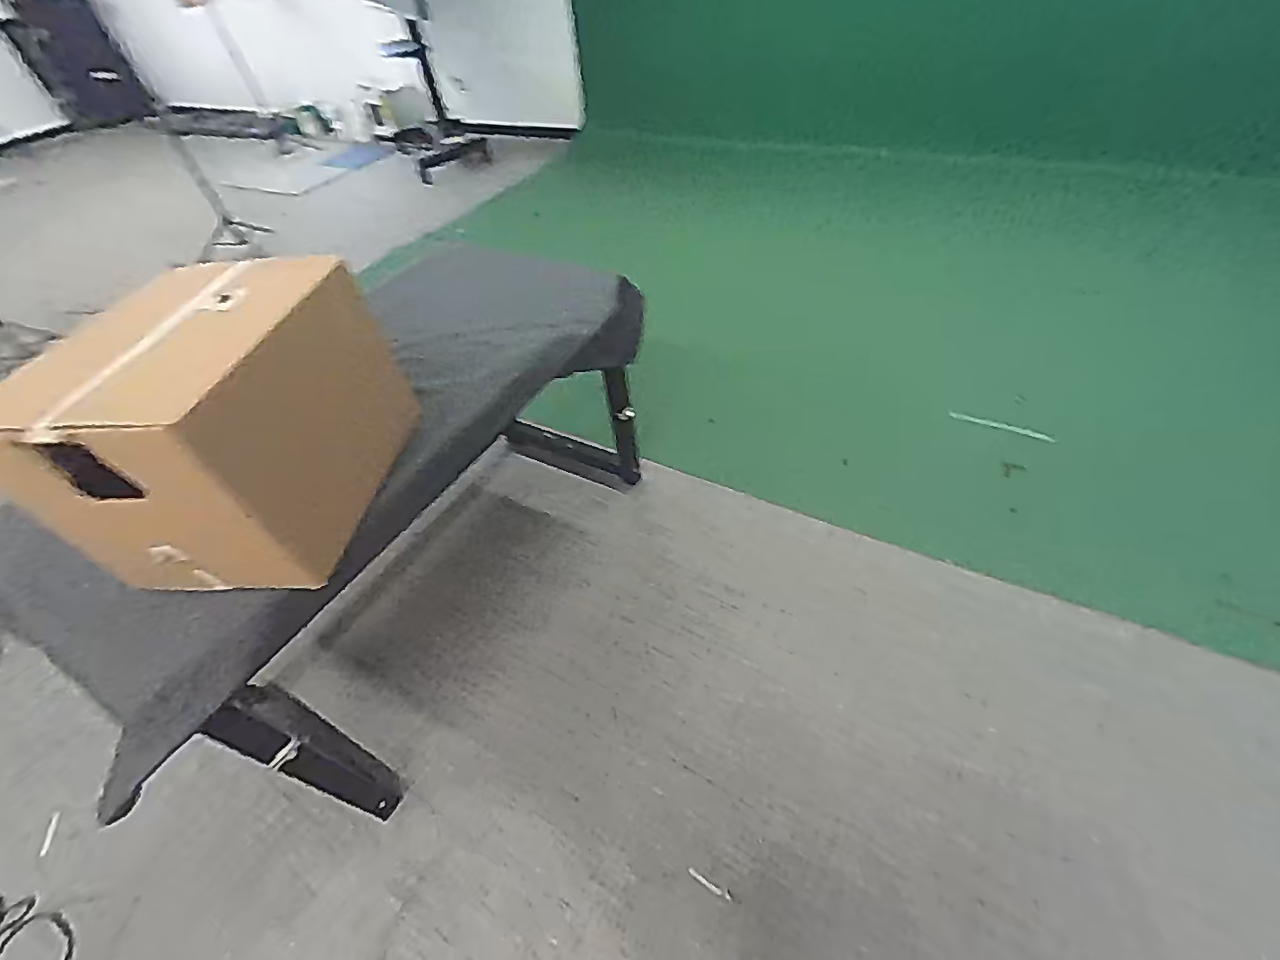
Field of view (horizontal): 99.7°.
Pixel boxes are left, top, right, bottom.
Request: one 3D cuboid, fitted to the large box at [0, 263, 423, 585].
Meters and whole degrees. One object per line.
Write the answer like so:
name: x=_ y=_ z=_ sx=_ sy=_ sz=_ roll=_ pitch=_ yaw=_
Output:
large box: x=-0.596 y=-0.088 z=0.830 sx=0.320 sy=0.320 sz=0.408 roll=-1 pitch=45 yaw=7
